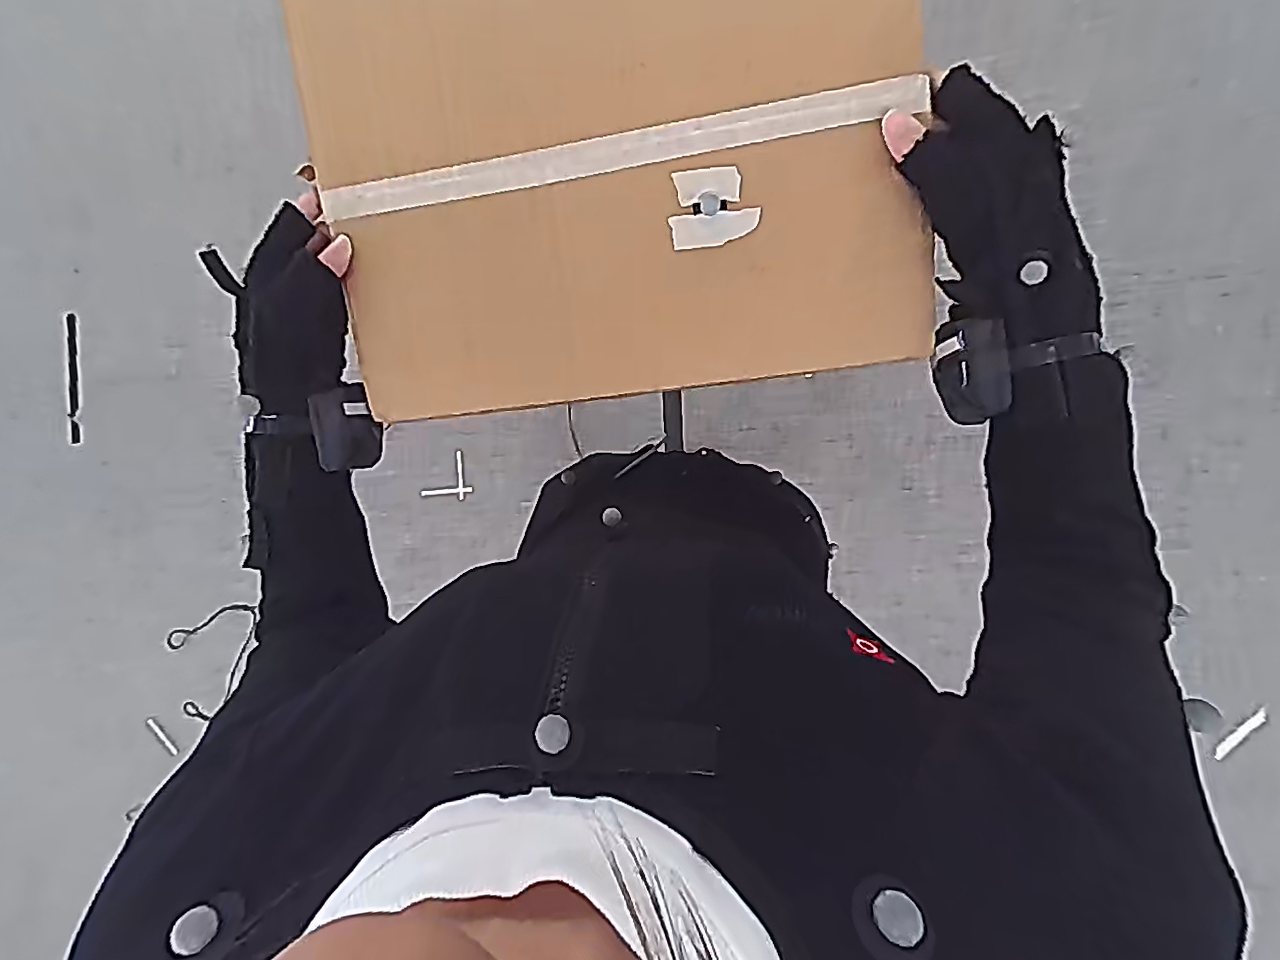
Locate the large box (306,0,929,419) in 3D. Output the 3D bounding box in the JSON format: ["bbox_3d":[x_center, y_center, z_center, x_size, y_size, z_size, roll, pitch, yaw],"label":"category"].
[{"bbox_3d":[-0.003,-0.248,0.516,0.408,0.320,0.320,-7,101,7],"label":"large box"}]
